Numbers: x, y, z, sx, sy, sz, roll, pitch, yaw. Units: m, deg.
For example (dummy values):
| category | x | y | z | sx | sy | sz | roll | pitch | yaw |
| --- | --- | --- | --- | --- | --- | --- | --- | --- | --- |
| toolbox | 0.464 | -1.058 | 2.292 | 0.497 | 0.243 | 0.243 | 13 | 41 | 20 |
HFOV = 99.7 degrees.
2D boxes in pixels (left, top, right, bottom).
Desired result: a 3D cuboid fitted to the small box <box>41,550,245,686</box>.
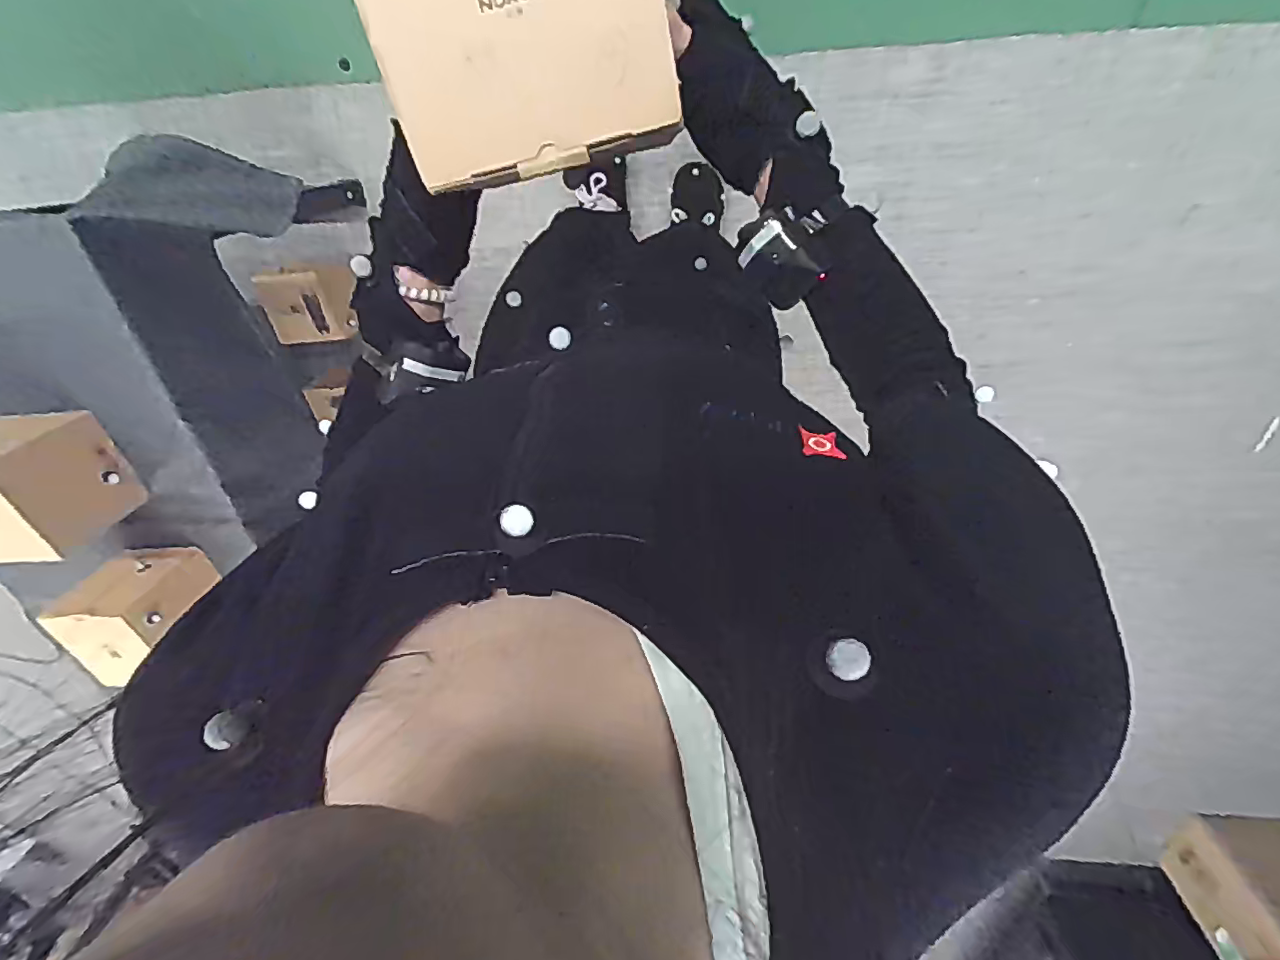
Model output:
| category | x | y | z | sx | sy | sz | roll | pitch | yaw |
| --- | --- | --- | --- | --- | --- | --- | --- | --- | --- |
| small box | -0.872 | 0.246 | 0.974 | 0.168 | 0.176 | 0.179 | -4 | 123 | 9 |

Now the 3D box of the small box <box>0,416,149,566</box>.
| category | x | y | z | sx | sy | sz | roll | pitch | yaw |
| --- | --- | --- | --- | --- | --- | --- | --- | --- | --- |
| small box | -0.927 | 0.013 | 0.823 | 0.179 | 0.176 | 0.168 | -2 | 124 | 7 |

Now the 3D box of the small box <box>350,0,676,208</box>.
| category | x | y | z | sx | sy | sz | roll | pitch | yaw |
| --- | --- | --- | --- | --- | --- | --- | --- | --- | --- |
| small box | -0.071 | -0.299 | 0.357 | 0.168 | 0.176 | 0.179 | -10 | 120 | 7 |

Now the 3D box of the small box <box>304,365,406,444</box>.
| category | x | y | z | sx | sy | sz | roll | pitch | yaw |
| --- | --- | --- | --- | --- | --- | --- | --- | --- | --- |
| small box | -0.797 | -0.219 | 1.530 | 0.168 | 0.176 | 0.179 | -1 | 124 | 7 |
